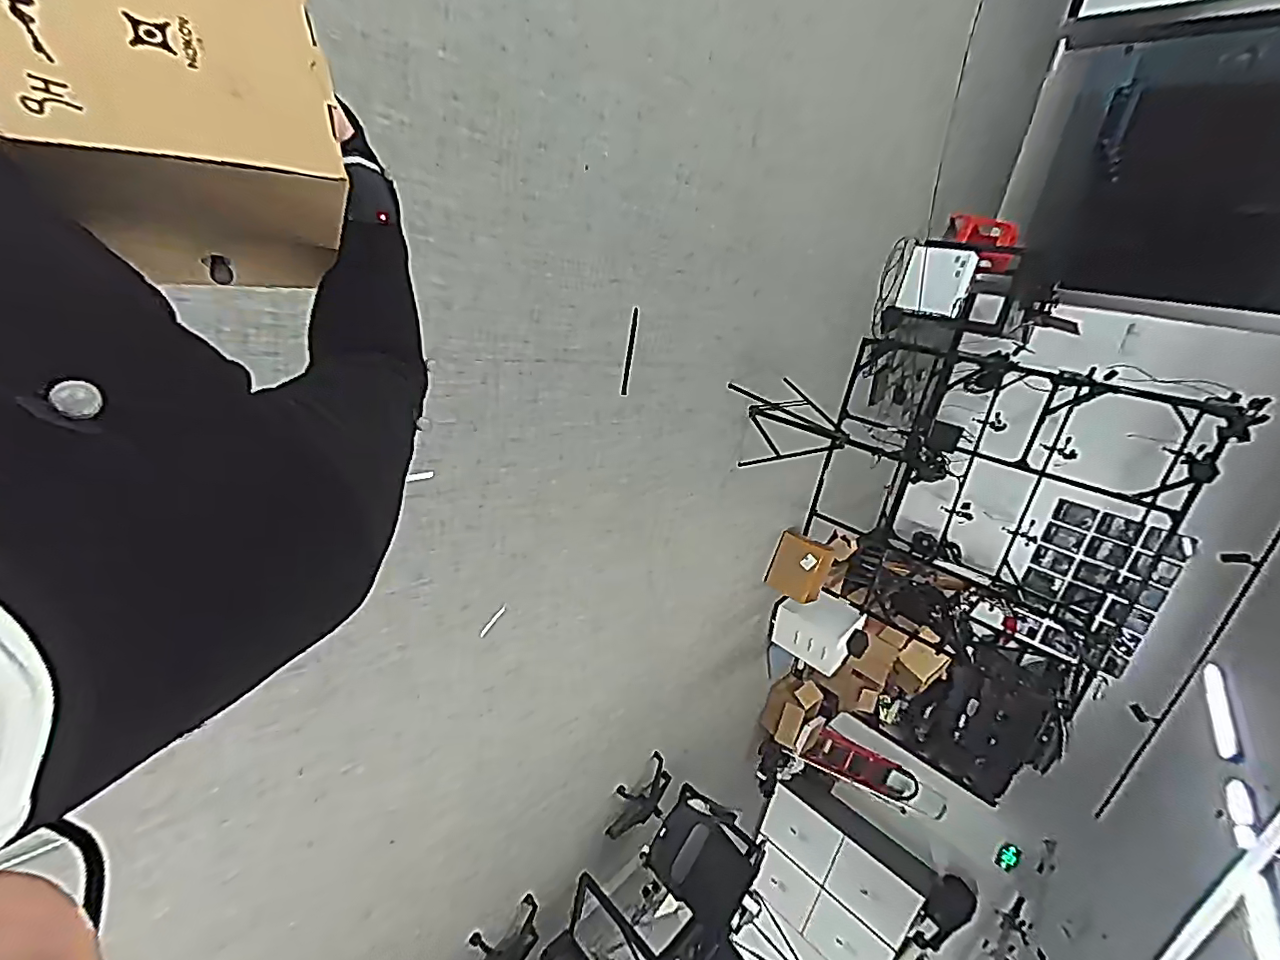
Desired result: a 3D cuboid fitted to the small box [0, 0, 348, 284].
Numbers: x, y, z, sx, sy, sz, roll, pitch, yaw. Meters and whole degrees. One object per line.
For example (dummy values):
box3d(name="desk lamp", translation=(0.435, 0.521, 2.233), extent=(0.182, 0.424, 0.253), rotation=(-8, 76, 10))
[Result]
box3d(name="small box", translation=(-0.351, -0.270, 0.425), extent=(0.179, 0.176, 0.168), rotation=(-12, 86, -35))
